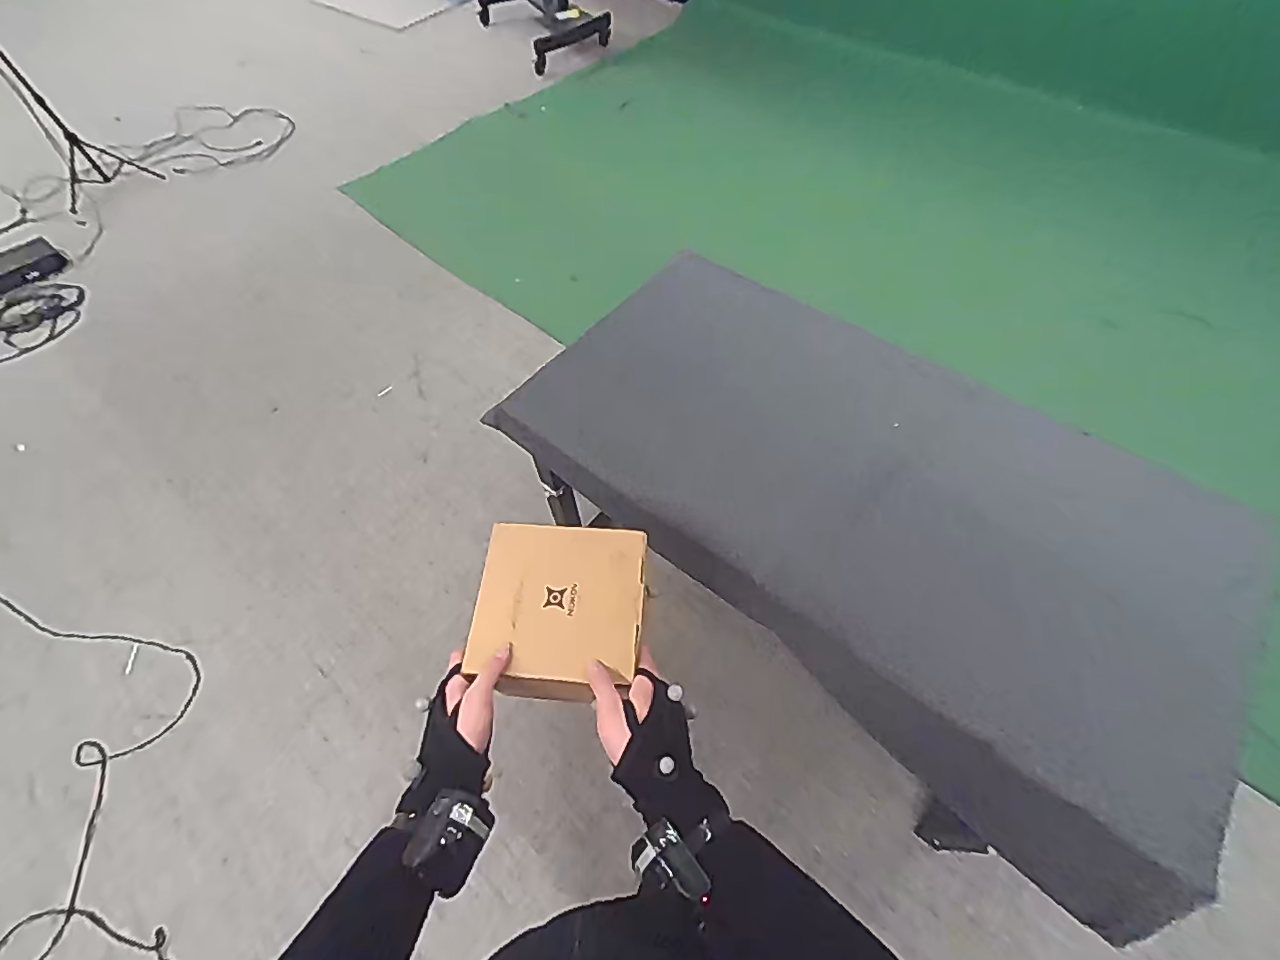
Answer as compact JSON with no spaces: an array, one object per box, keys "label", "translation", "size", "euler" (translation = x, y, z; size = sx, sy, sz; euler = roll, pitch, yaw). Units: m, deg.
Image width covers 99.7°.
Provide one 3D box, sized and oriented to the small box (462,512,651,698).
[{"label":"small box","translation":[-0.079,0.151,0.626],"size":[0.179,0.176,0.168],"euler":[2,60,4]}]
